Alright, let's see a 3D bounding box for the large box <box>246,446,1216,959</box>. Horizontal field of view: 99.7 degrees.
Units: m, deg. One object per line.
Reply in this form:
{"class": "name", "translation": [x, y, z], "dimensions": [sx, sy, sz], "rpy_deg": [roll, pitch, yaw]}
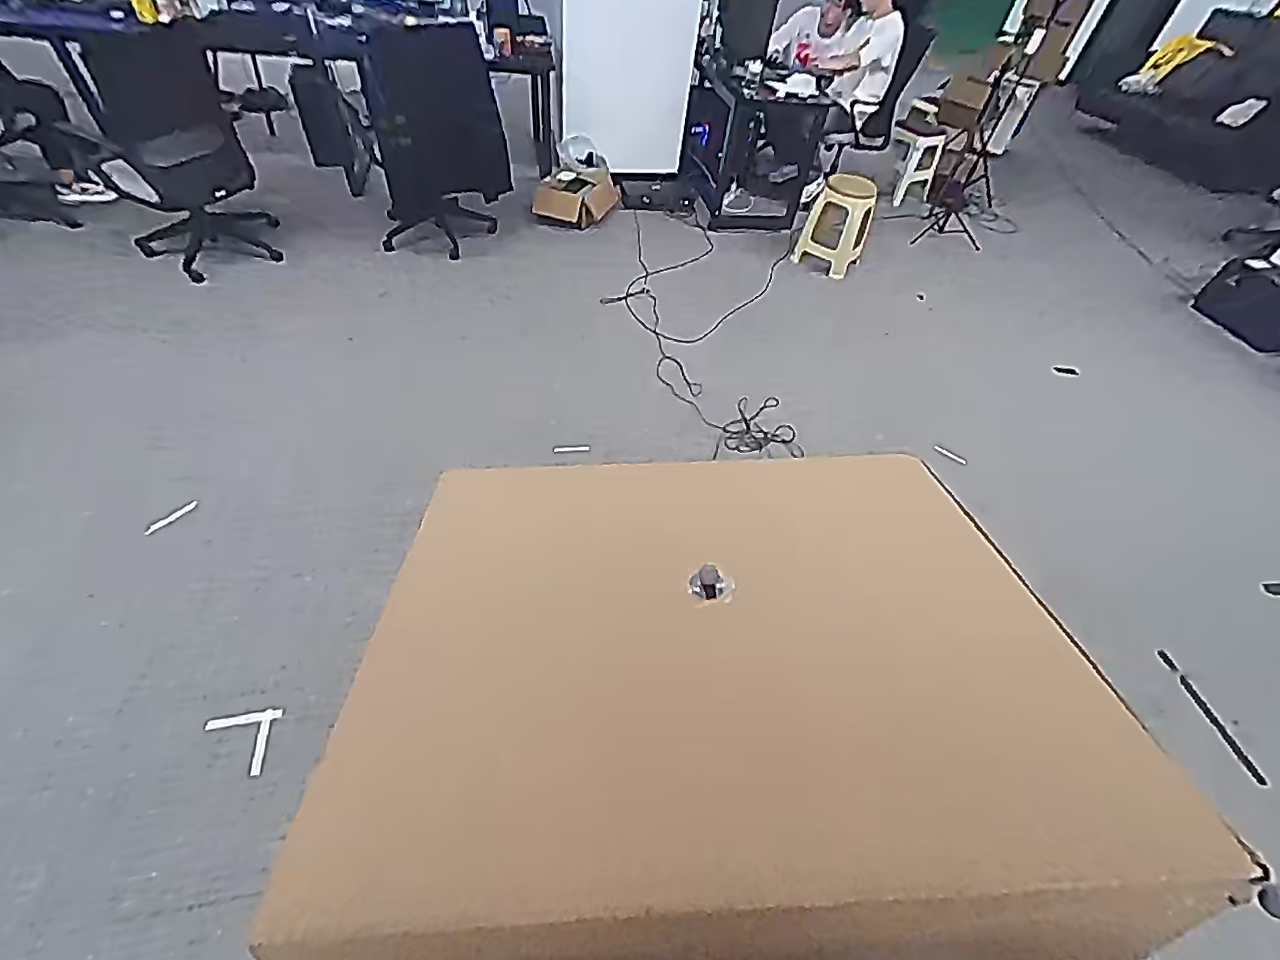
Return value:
{"class": "large box", "translation": [0.035, 0.193, 0.424], "dimensions": [0.408, 0.320, 0.320], "rpy_deg": [-4, 38, -2]}
